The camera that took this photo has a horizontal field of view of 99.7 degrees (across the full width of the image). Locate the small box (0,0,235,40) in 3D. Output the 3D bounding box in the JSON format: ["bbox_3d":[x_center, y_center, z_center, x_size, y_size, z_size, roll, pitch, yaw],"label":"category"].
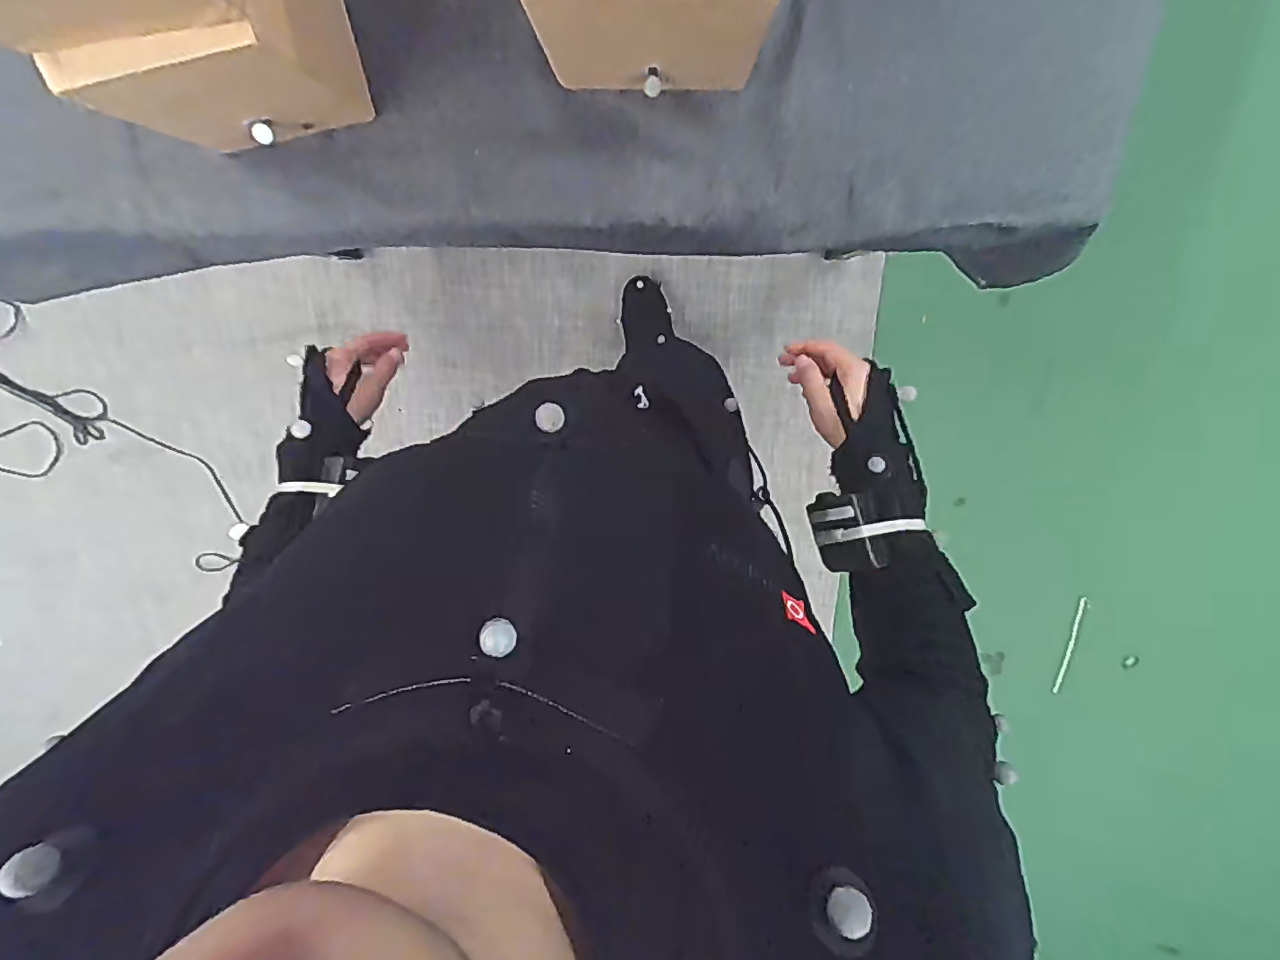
[{"bbox_3d":[-0.356,-0.356,0.269,0.179,0.176,0.168,-5,110,3],"label":"small box"}]

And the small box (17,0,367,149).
[{"bbox_3d":[-0.354,-0.393,0.427,0.168,0.176,0.179,-8,108,5],"label":"small box"}]

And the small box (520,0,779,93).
[{"bbox_3d":[0.009,-0.418,0.408,0.179,0.176,0.168,1,108,1],"label":"small box"}]
